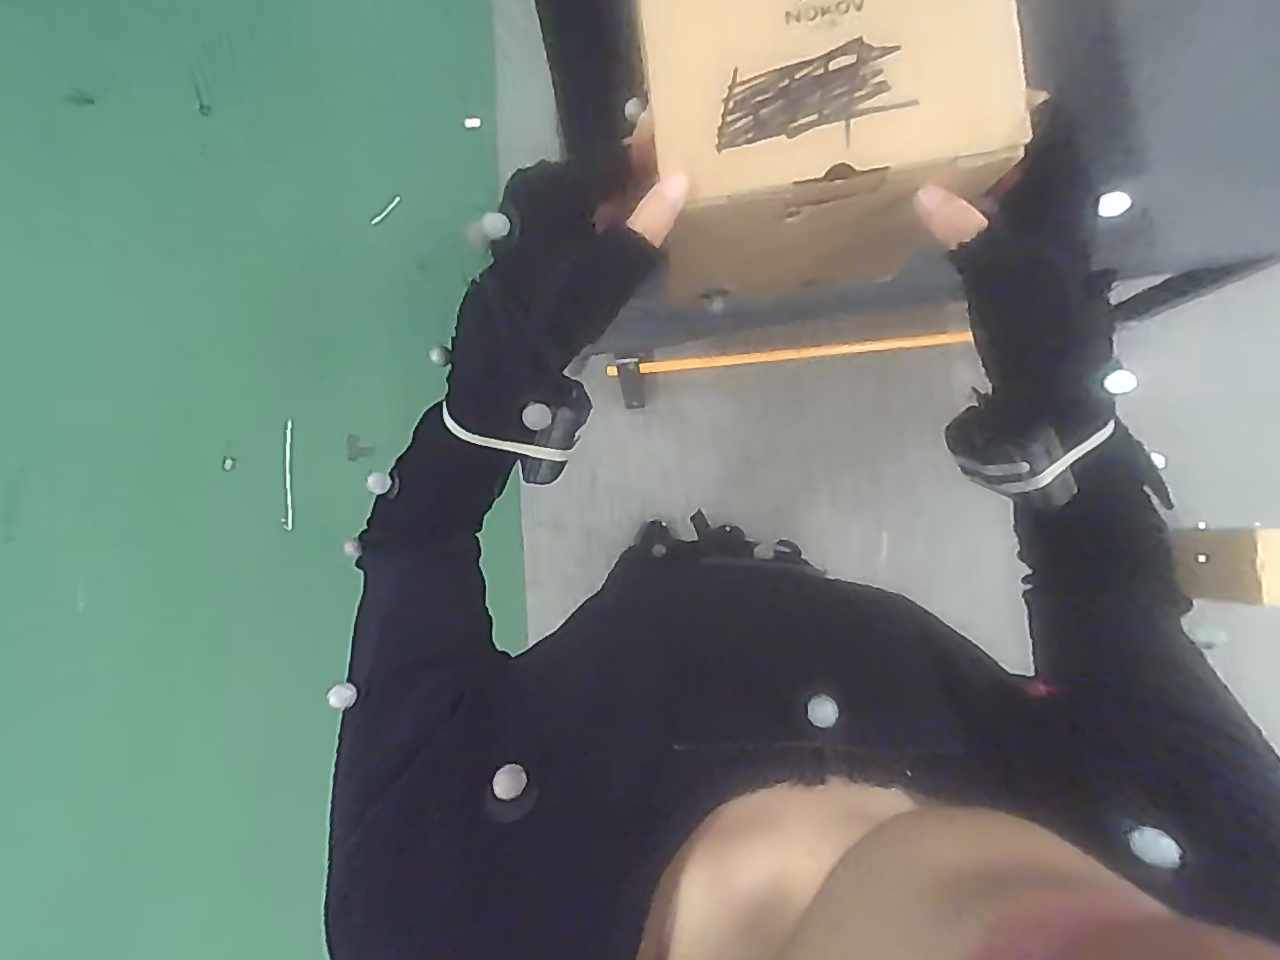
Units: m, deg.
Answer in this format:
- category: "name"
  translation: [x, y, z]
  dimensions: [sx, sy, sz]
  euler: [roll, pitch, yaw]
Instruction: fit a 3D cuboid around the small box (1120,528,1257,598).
- category: "small box"
  translation: [1.380, 0.206, 1.371]
  dimensions: [0.179, 0.176, 0.168]
  euler: [0, 84, 2]
